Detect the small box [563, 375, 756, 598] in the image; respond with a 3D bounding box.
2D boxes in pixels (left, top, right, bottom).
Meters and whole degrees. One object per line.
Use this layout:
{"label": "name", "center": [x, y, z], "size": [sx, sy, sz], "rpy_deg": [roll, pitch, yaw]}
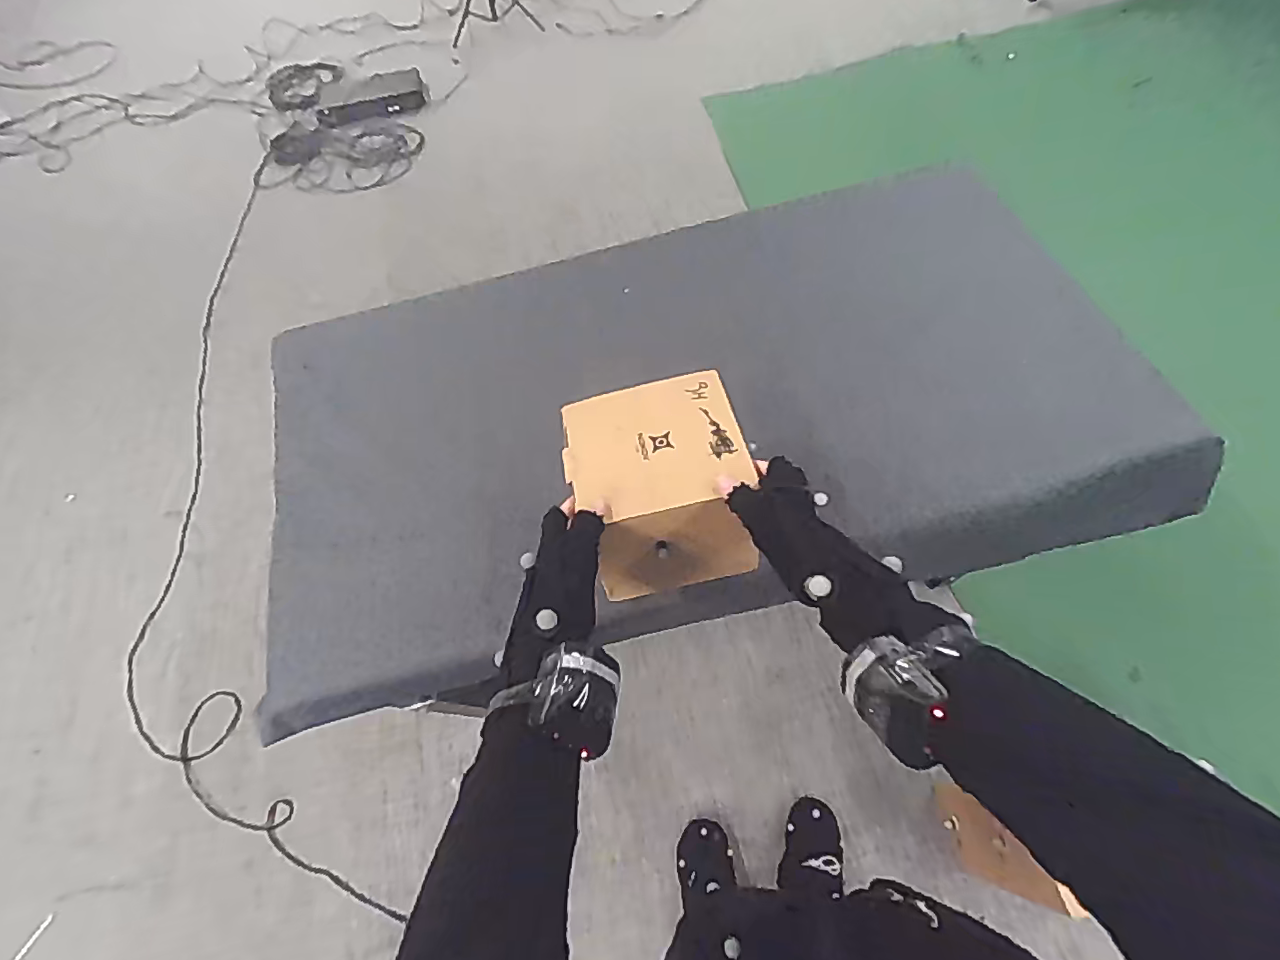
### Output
{"label": "small box", "center": [0.024, 0.015, 0.603], "size": [0.179, 0.176, 0.168], "rpy_deg": [-12, 53, 1]}
